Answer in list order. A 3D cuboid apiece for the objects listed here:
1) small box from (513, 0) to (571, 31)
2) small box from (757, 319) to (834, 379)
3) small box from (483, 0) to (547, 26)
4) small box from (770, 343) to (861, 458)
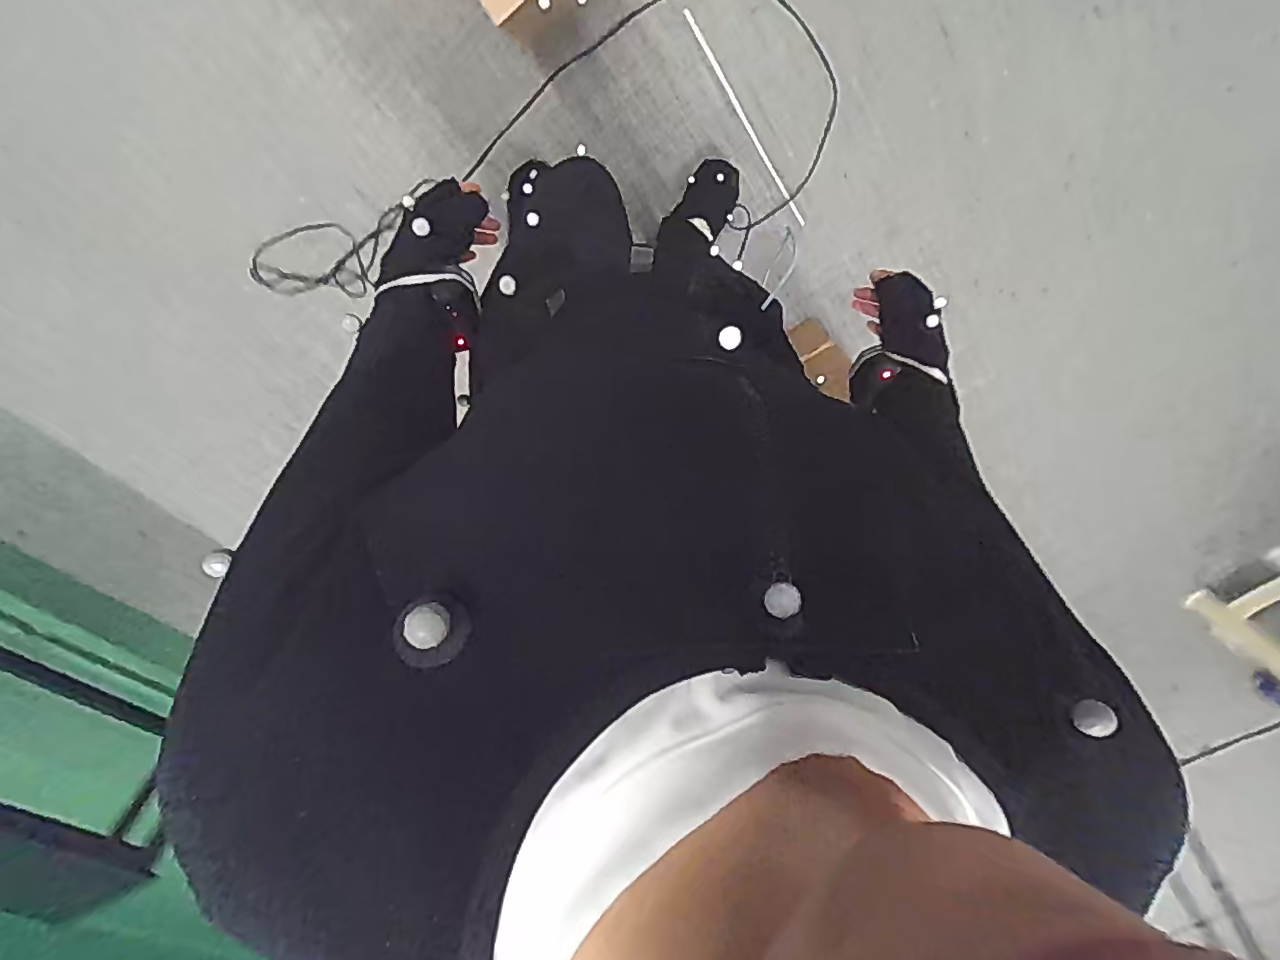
[{"bbox_3d":[-0.186,-0.912,0.920,0.179,0.176,0.168,-26,121,16],"label":"small box"},{"bbox_3d":[0.420,-0.290,1.388,0.168,0.176,0.179,-30,121,19],"label":"small box"},{"bbox_3d":[-0.186,-0.823,0.802,0.179,0.176,0.168,-28,121,17],"label":"small box"},{"bbox_3d":[0.427,-0.189,1.257,0.179,0.176,0.168,-29,122,18],"label":"small box"}]
